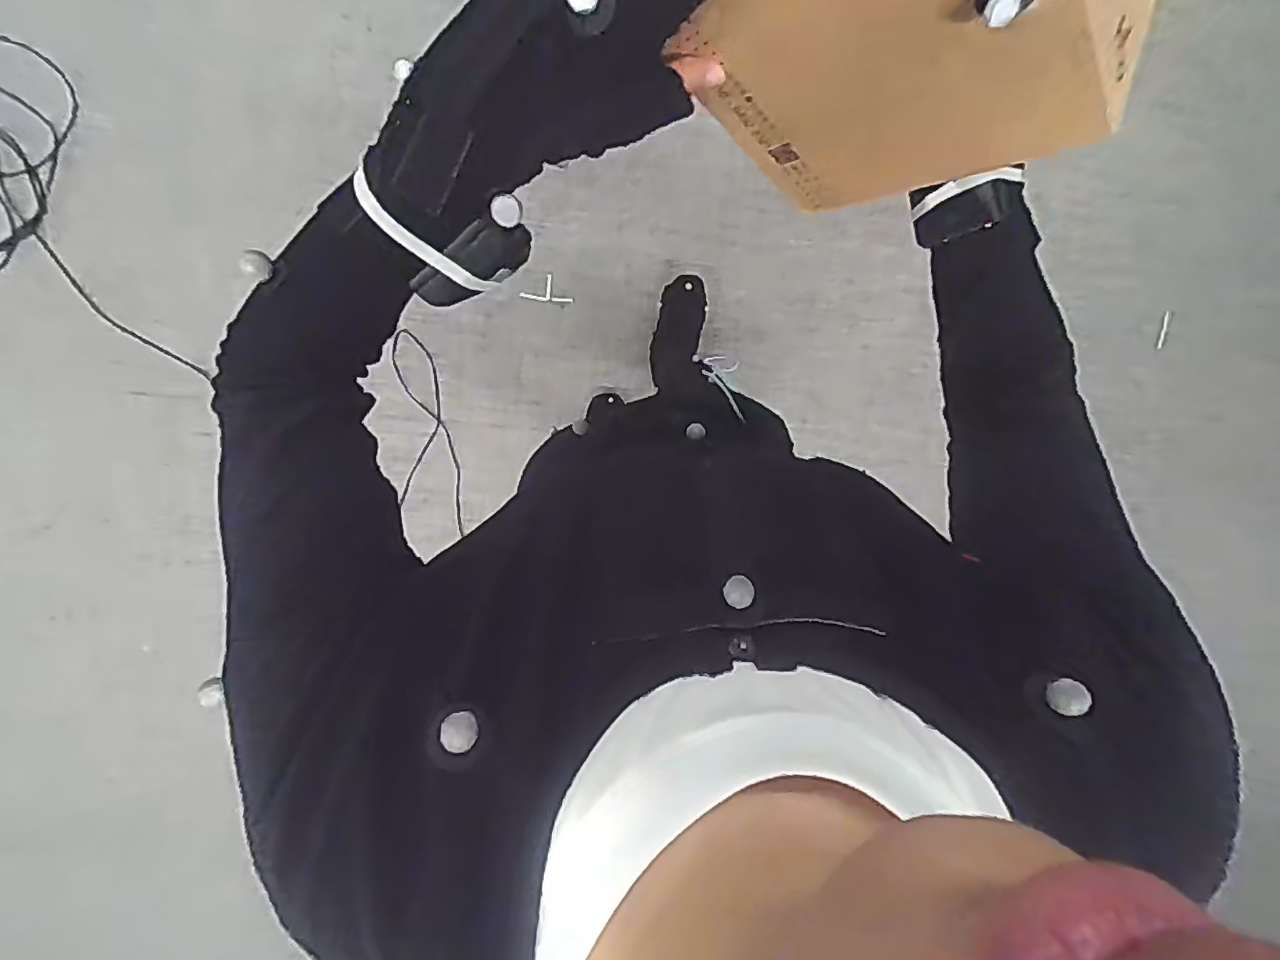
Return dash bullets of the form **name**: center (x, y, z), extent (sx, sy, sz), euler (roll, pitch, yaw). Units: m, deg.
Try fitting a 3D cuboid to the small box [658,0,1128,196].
- **small box**: center (0.132, -0.283, 0.272), extent (0.168, 0.176, 0.179), euler (18, 87, -42)
